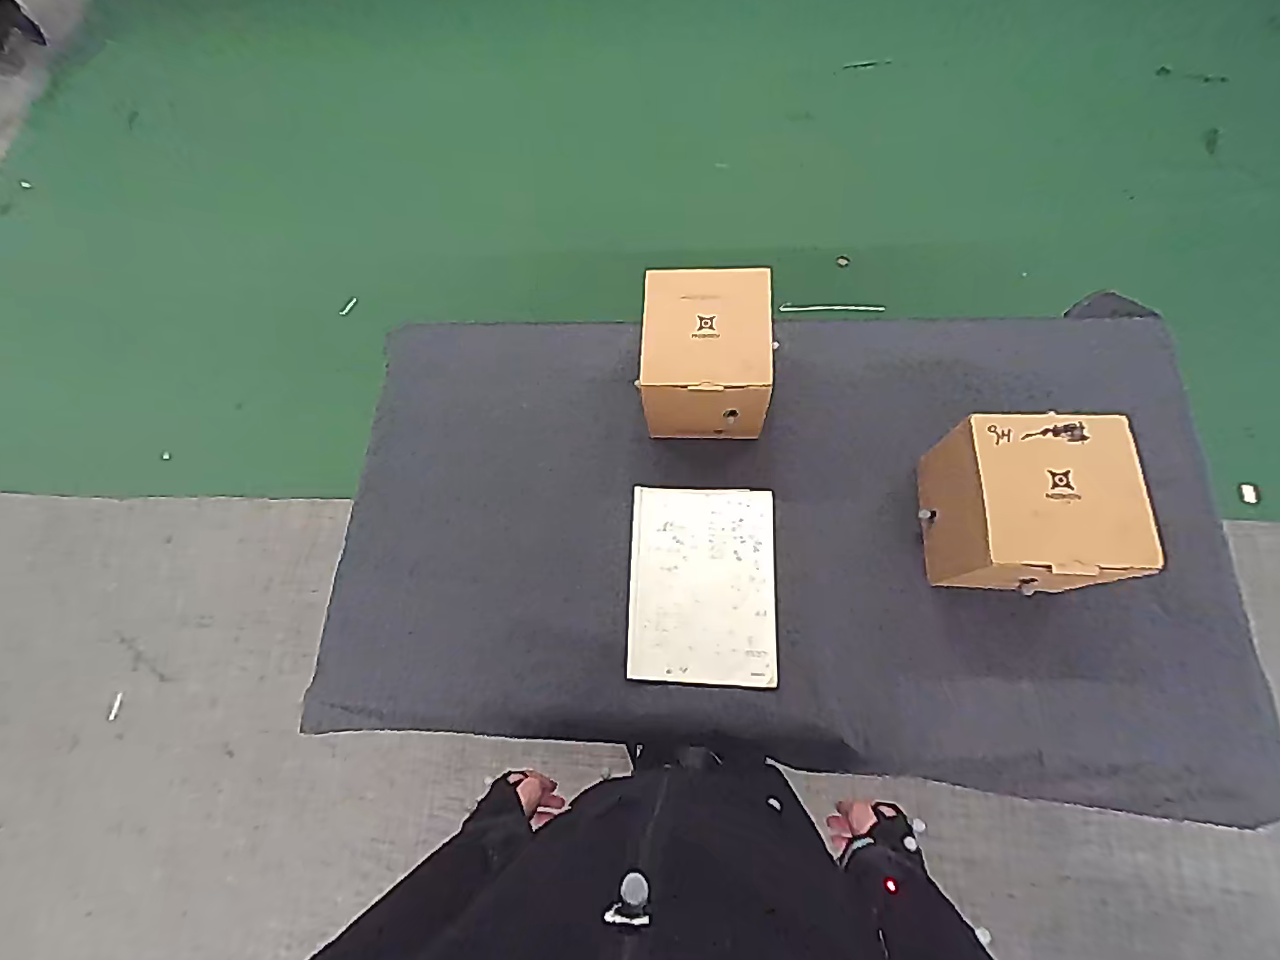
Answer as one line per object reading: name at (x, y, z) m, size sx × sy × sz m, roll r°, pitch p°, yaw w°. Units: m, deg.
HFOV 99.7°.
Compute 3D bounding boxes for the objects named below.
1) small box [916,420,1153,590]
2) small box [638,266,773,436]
small box at (0.458, 0.039, 0.661) m, size 0.168 × 0.176 × 0.179 m, roll 2°, pitch 73°, yaw 6°
small box at (0.090, -0.169, 0.752) m, size 0.168 × 0.176 × 0.179 m, roll 1°, pitch 71°, yaw 5°
